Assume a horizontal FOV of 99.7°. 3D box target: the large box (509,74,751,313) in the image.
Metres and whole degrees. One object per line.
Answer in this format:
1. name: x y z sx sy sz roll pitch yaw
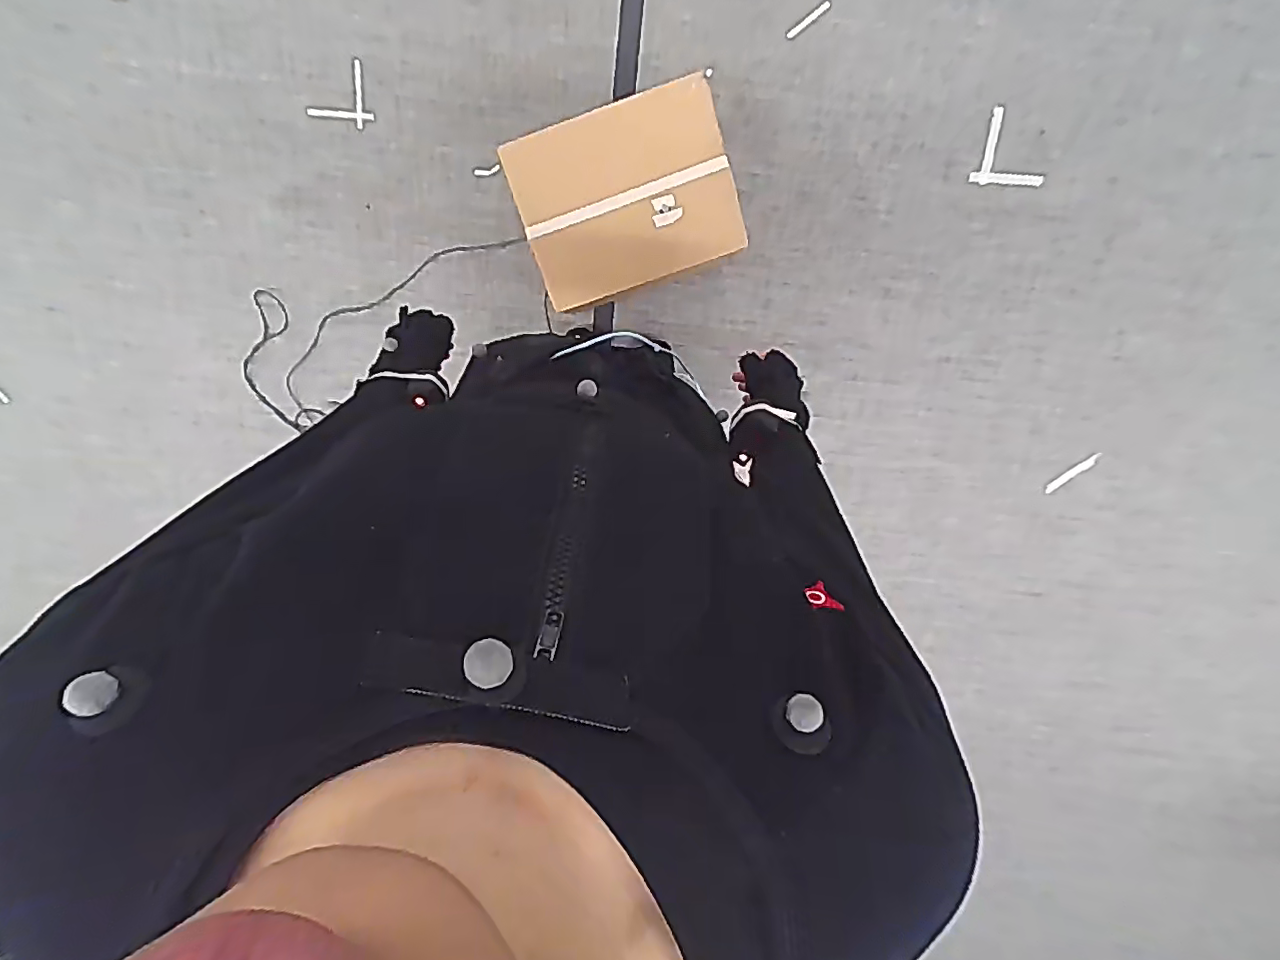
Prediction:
1. large box: -0.018 -0.581 1.178 0.408 0.320 0.320 -17 107 4
